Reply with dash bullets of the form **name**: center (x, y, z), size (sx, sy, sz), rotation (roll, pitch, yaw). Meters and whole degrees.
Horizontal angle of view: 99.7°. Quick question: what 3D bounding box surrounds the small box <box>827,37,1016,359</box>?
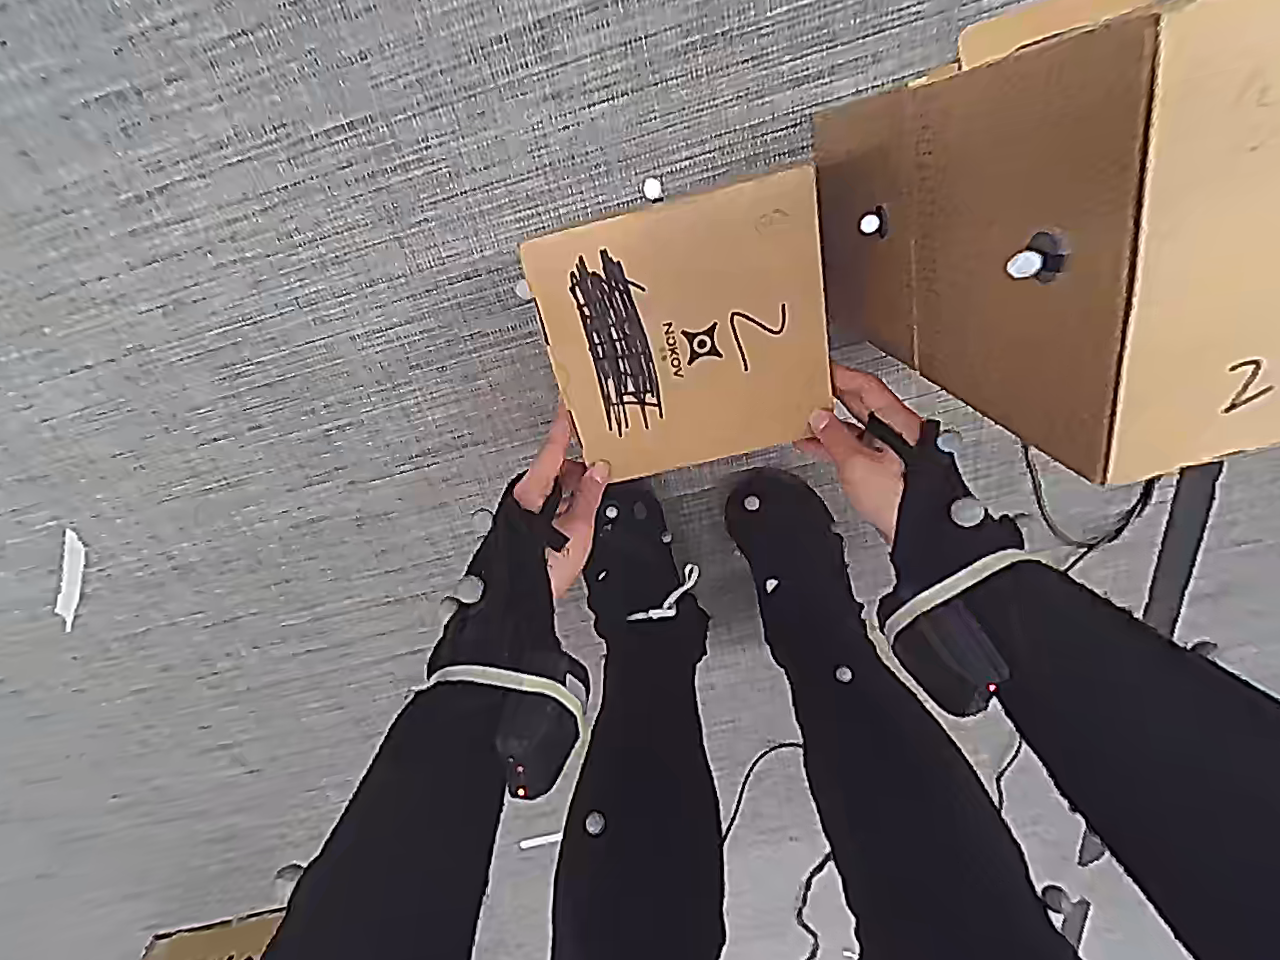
- **small box**: center (0.253, -0.214, 0.407), size (0.168, 0.176, 0.179), rotation (-14, 118, 5)

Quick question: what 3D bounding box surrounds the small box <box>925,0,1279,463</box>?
- **small box**: center (0.260, -0.137, 0.262), size (0.168, 0.176, 0.179), rotation (-15, 118, 7)
